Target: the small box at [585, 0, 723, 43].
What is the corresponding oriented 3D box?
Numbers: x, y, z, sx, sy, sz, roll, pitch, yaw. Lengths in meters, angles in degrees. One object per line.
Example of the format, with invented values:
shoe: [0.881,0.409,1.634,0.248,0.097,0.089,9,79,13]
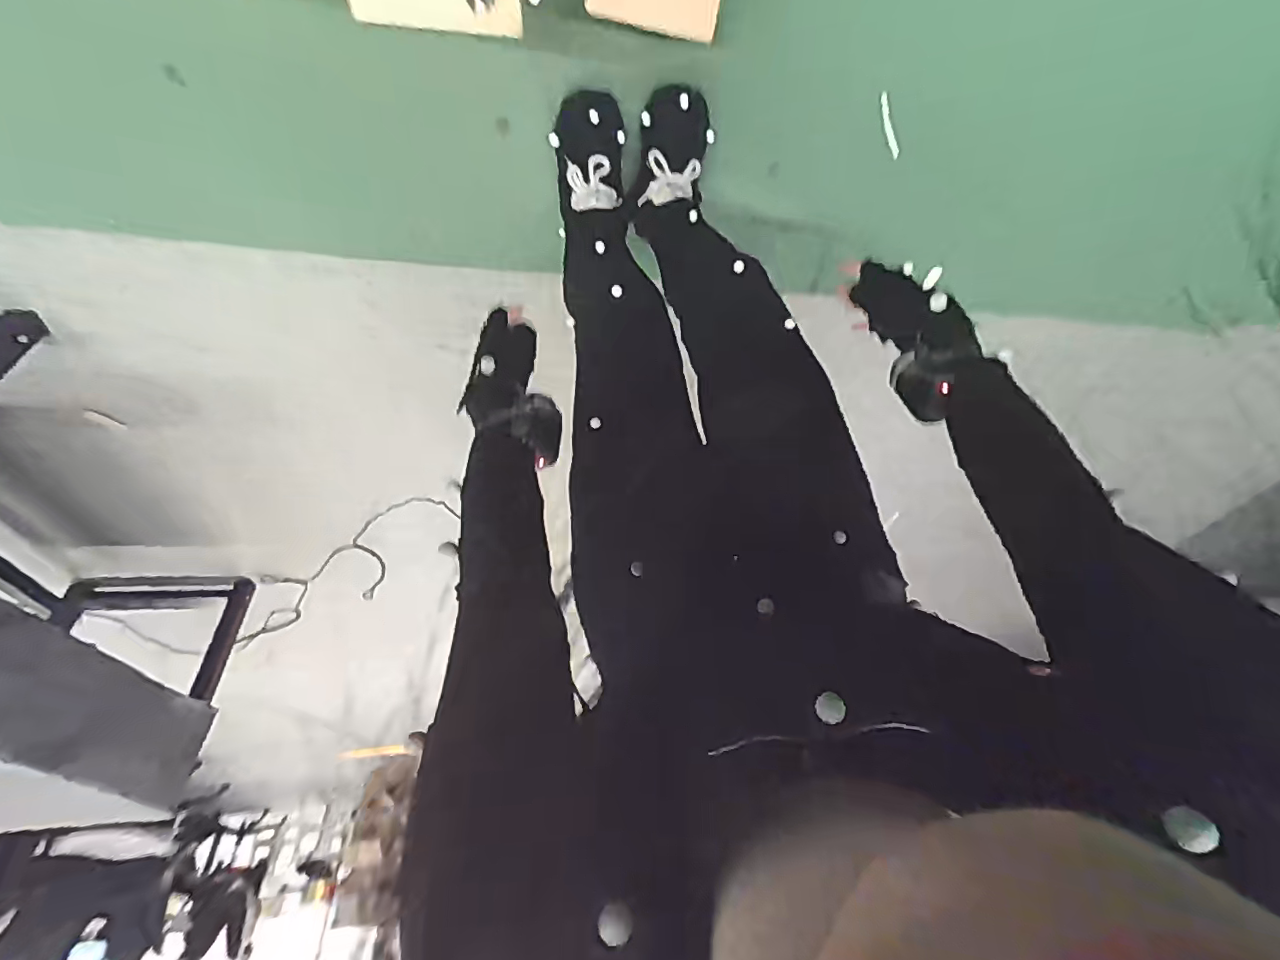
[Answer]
small box: [0.025,-0.719,0.715,0.179,0.176,0.168,5,138,-13]
